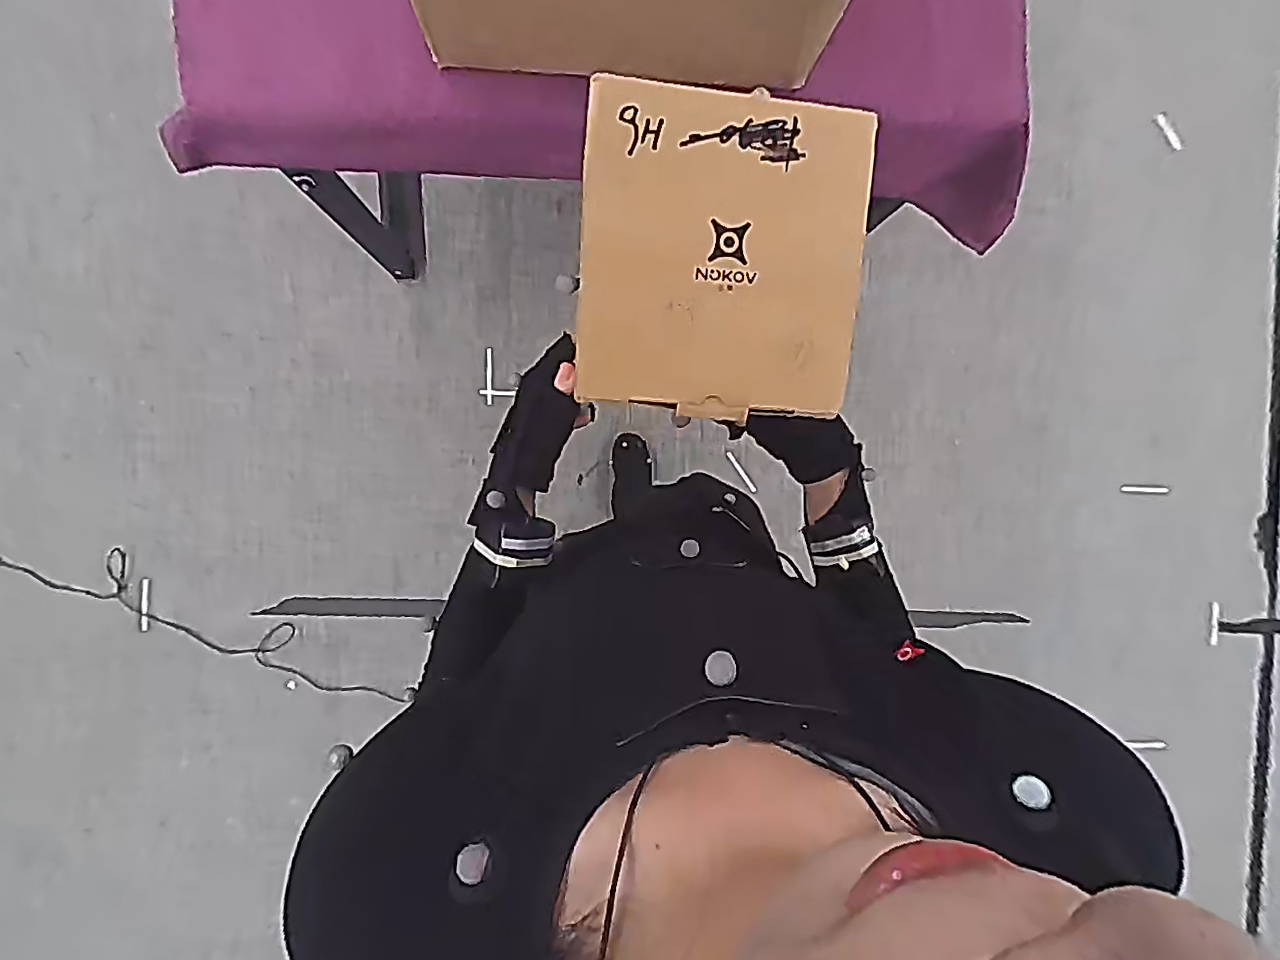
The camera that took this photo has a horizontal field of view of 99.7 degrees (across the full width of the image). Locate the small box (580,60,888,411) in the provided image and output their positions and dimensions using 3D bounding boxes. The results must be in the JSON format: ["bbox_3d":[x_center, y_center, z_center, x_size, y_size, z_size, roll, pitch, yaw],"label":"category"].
[{"bbox_3d":[0.043,-0.146,0.384,0.168,0.176,0.179,2,100,-8],"label":"small box"}]
